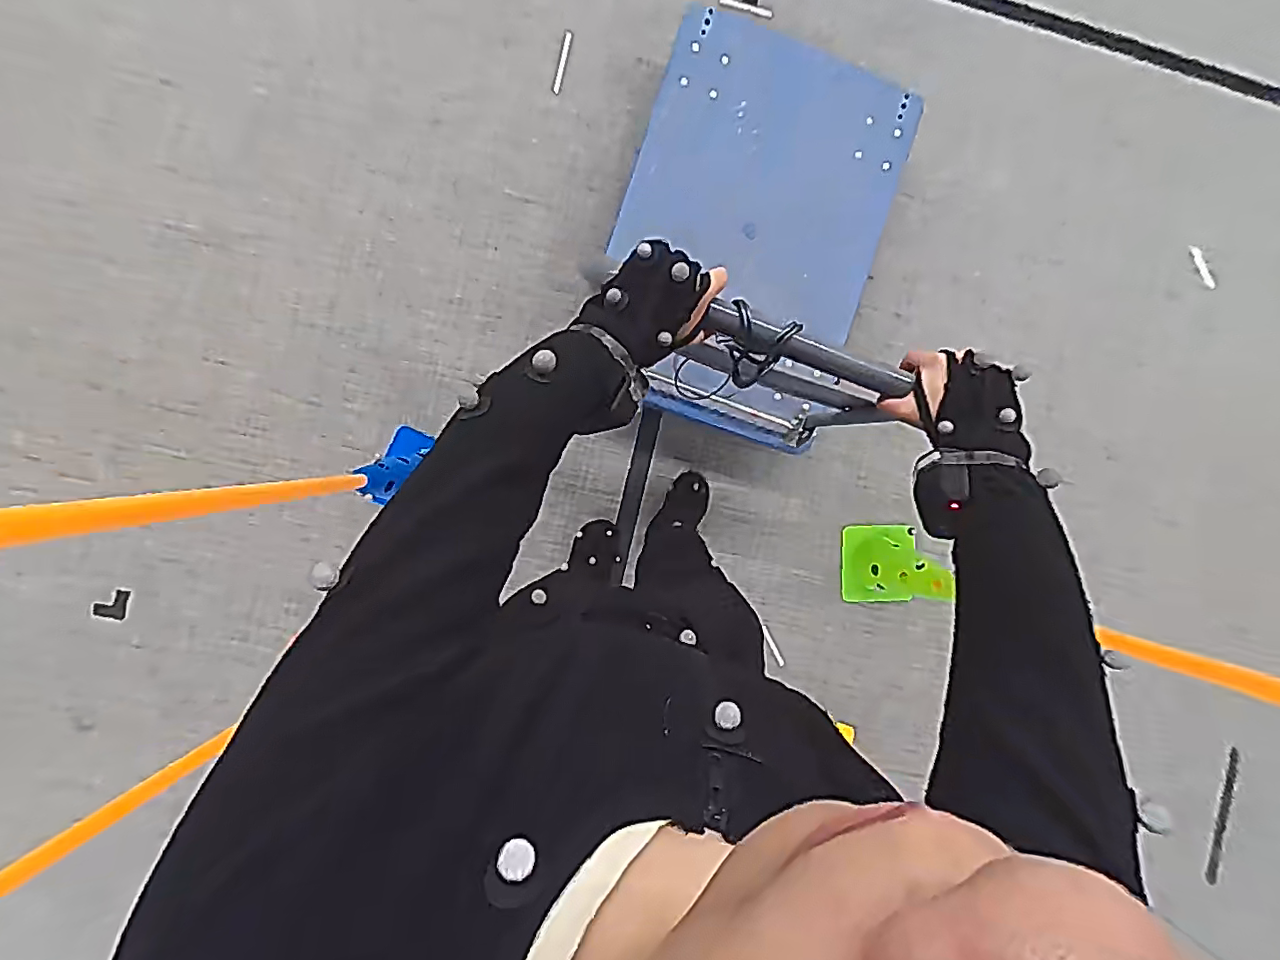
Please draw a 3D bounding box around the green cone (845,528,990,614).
[{"bbox_3d":[0.641,0.230,1.226,0.200,0.368,0.202,-1,92,-5],"label":"green cone"}]

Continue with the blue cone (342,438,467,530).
[{"bbox_3d":[-0.516,0.012,1.133,0.193,0.380,0.192,28,89,-5],"label":"blue cone"}]
